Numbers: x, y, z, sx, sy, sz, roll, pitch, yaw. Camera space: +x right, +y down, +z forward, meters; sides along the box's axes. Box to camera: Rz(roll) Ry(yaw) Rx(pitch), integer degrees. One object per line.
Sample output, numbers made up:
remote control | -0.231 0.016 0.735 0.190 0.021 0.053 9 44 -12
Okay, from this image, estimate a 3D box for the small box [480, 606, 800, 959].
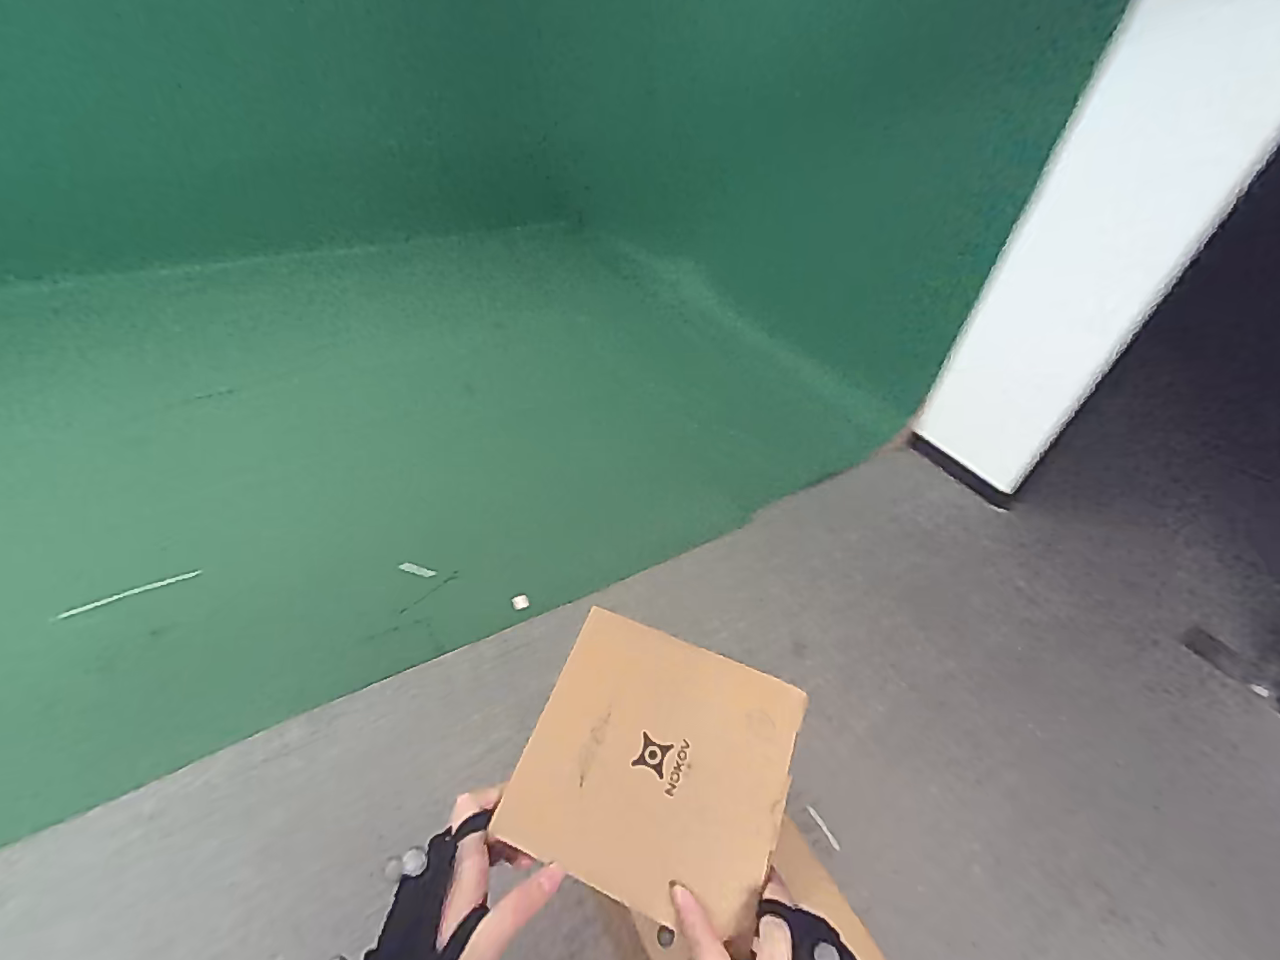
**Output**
small box | 0.006 0.232 0.437 0.179 0.176 0.168 20 58 12
